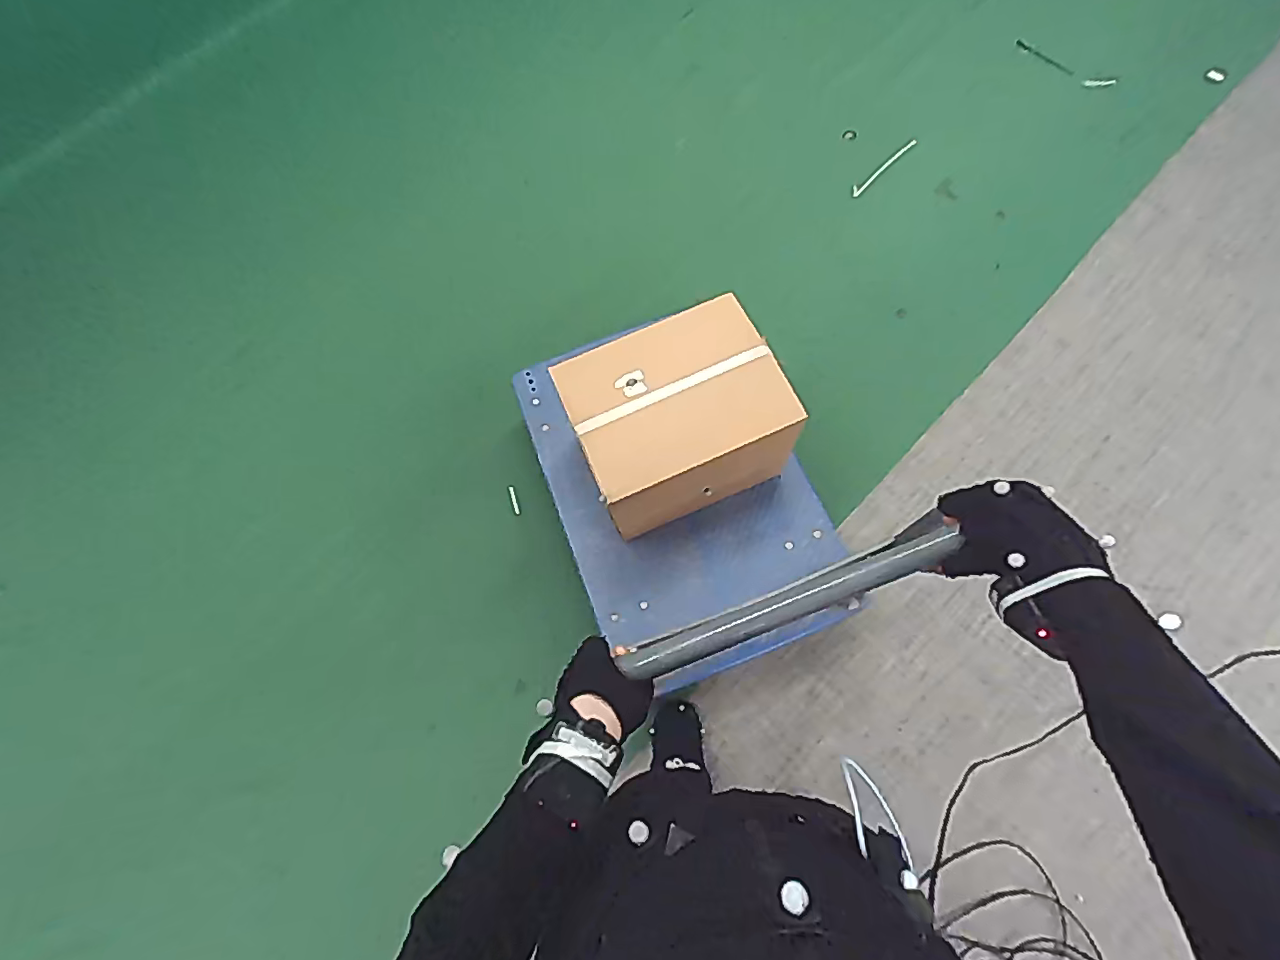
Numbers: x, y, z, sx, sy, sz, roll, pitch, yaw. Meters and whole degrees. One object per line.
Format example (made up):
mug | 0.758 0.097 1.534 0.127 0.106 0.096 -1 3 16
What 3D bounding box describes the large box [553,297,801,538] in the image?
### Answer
large box | 0.077 -0.118 1.186 0.408 0.320 0.320 -25 70 -3
